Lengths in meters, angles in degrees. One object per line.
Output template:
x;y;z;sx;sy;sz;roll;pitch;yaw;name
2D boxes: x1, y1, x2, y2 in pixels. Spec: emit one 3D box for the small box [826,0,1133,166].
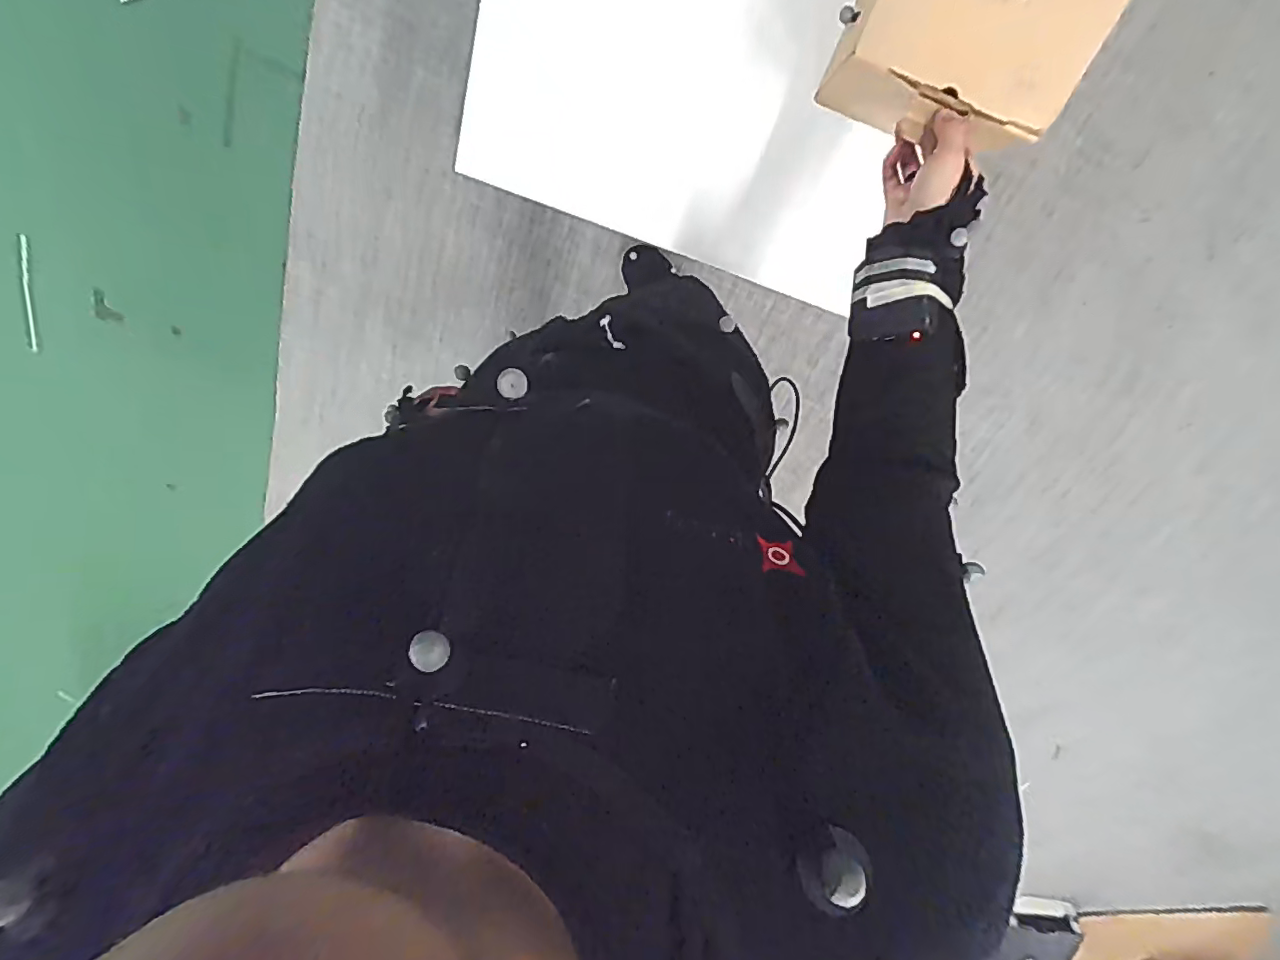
0.276;-0.391;0.455;0.168;0.176;0.179;21;115;-4;small box
